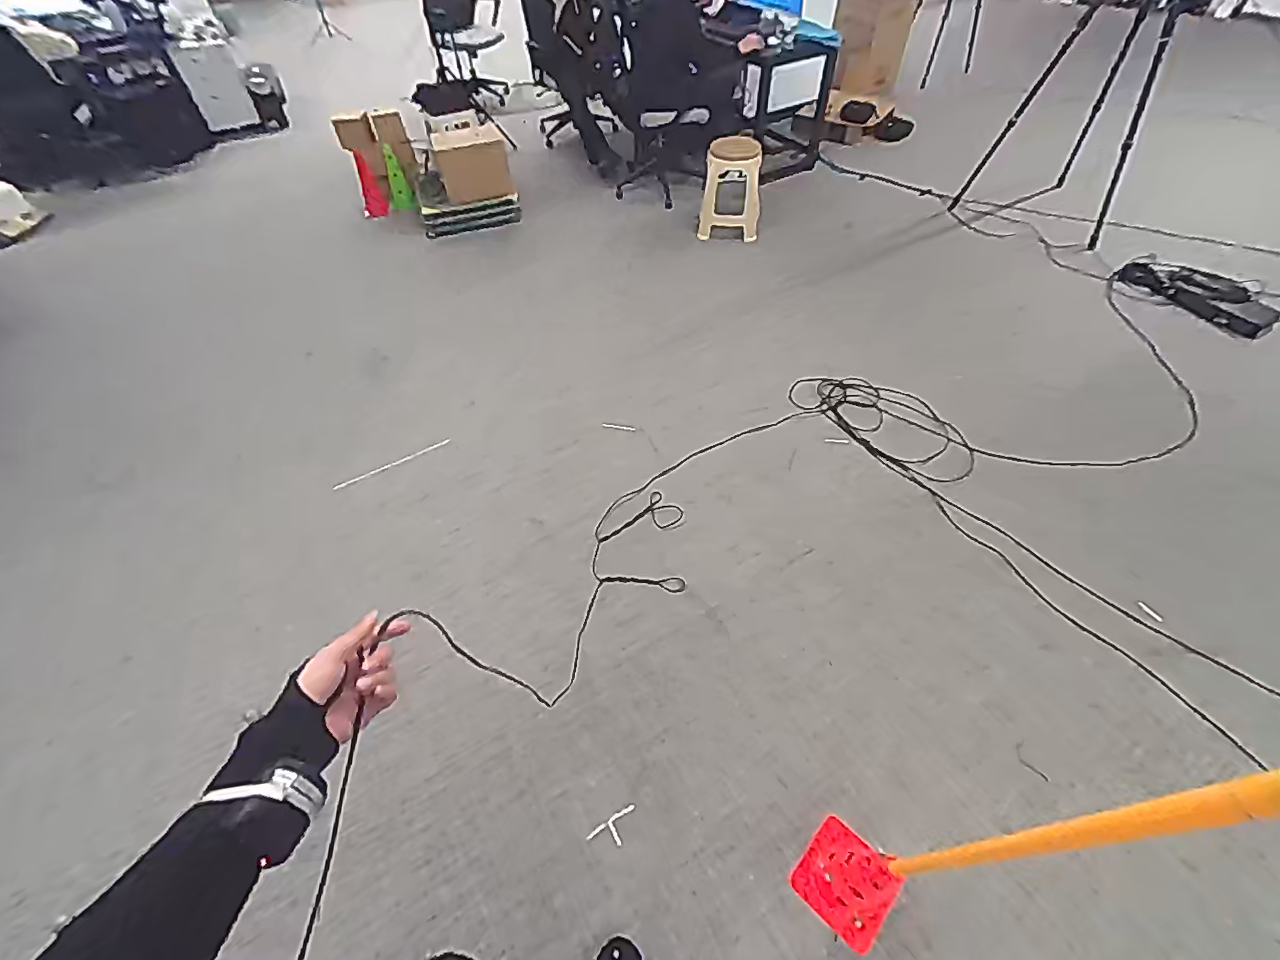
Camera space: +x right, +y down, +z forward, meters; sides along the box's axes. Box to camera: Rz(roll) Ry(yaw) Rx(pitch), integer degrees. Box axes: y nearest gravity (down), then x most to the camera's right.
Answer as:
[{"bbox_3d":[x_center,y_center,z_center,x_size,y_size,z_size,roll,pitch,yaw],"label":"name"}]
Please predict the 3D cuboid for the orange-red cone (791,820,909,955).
[{"bbox_3d":[0.477,0.830,1.128,0.198,0.360,0.199,37,59,27],"label":"orange-red cone"}]
